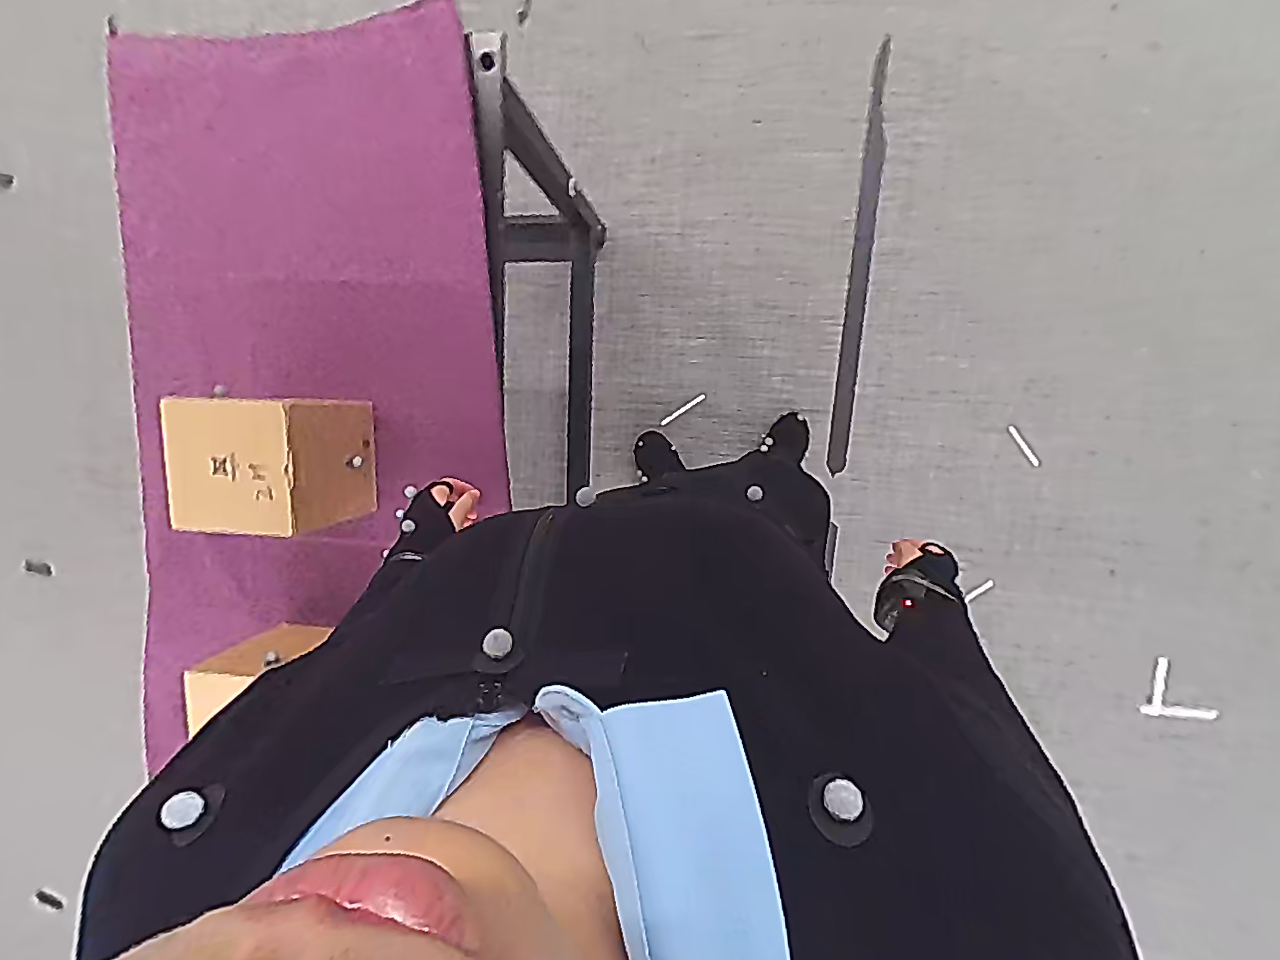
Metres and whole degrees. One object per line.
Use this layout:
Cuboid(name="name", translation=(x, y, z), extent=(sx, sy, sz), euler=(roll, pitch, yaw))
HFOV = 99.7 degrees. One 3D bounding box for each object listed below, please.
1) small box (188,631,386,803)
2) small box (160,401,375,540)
Cuboid(name="small box", translation=(-0.500, 0.329, 0.786), extent=(0.179, 0.176, 0.168), euler=(1, 96, 7))
Cuboid(name="small box", translation=(-0.495, -0.021, 0.740), extent=(0.179, 0.176, 0.168), euler=(2, 98, 7))
